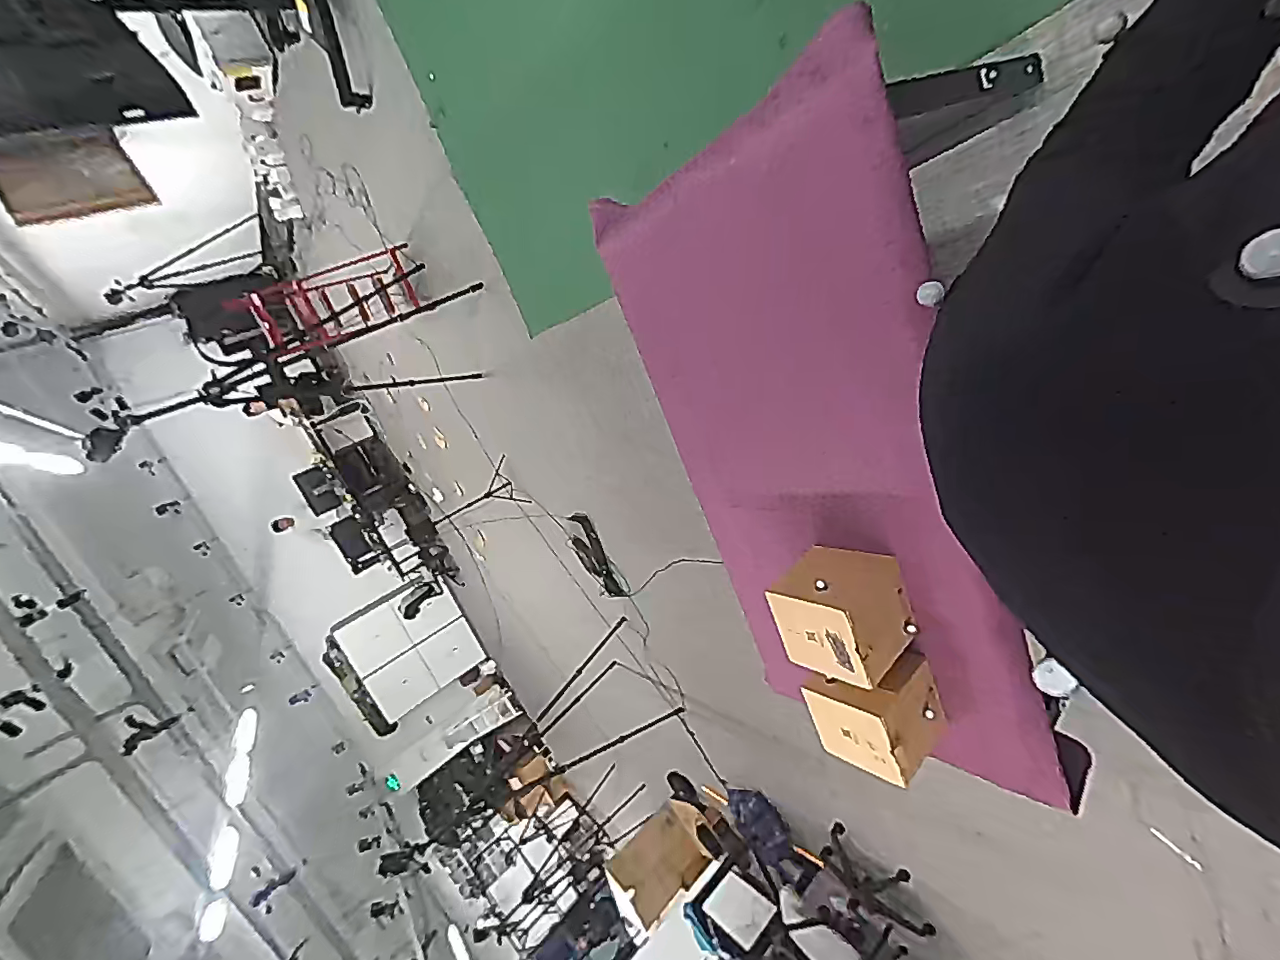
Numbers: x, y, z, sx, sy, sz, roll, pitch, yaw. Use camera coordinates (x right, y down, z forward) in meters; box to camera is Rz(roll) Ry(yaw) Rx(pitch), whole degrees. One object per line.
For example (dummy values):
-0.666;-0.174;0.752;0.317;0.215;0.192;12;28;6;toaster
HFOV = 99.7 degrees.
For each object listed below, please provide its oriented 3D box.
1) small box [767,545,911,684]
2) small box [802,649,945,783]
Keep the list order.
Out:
0.373;0.236;0.997;0.179;0.176;0.168;1;118;56;small box
0.454;0.433;1.052;0.179;0.176;0.168;-1;116;56;small box
